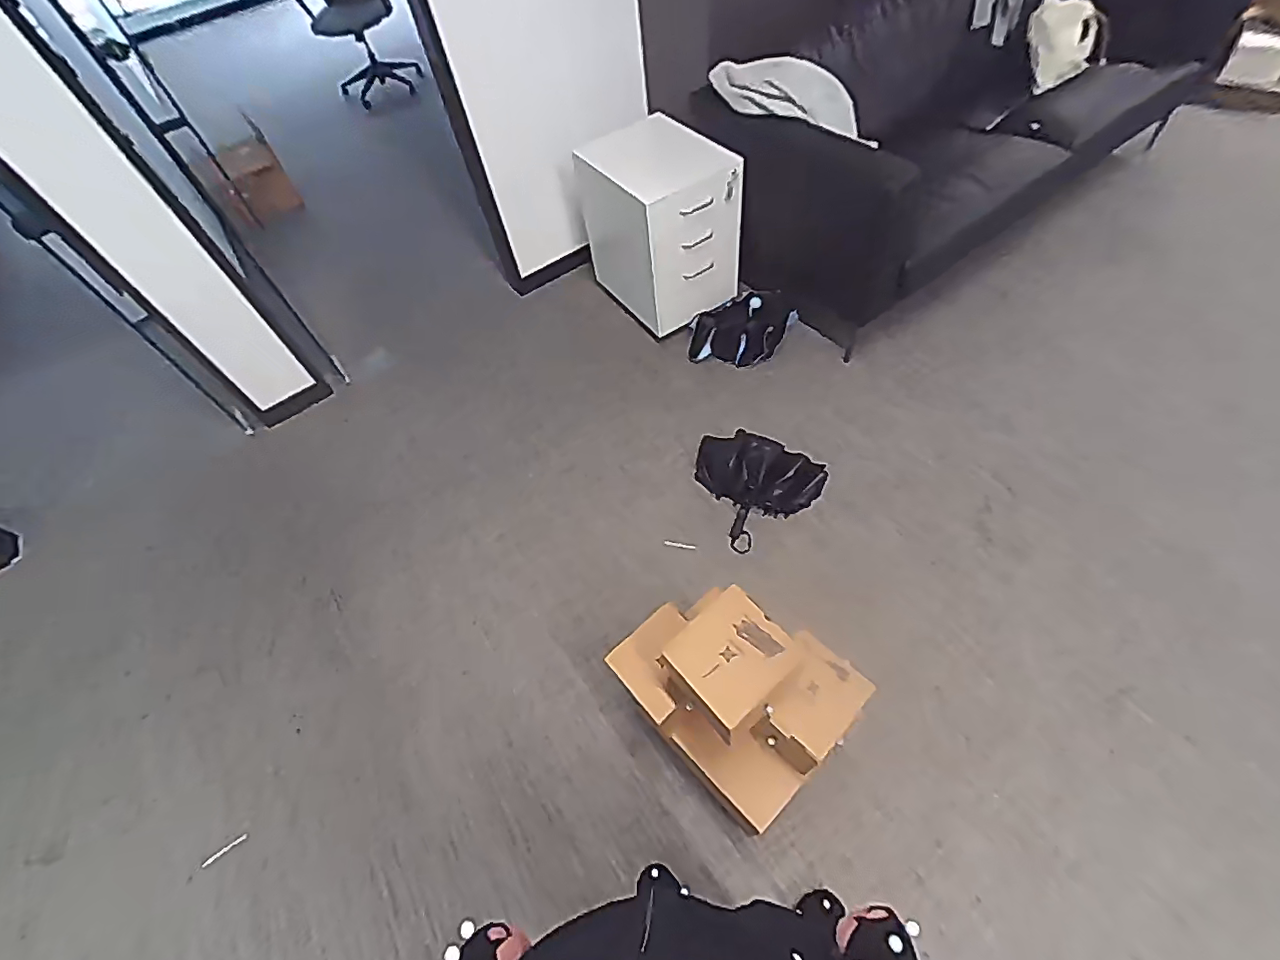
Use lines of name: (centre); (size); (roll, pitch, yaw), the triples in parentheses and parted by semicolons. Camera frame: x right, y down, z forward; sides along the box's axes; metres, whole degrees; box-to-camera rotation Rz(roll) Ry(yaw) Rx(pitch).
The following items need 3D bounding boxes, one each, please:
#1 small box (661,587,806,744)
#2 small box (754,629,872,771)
small box: (0.159, 0.324, 0.937); (0.179, 0.176, 0.168); (-38, 58, -15)
small box: (0.313, 0.428, 1.043); (0.179, 0.176, 0.168); (-42, 60, -20)
